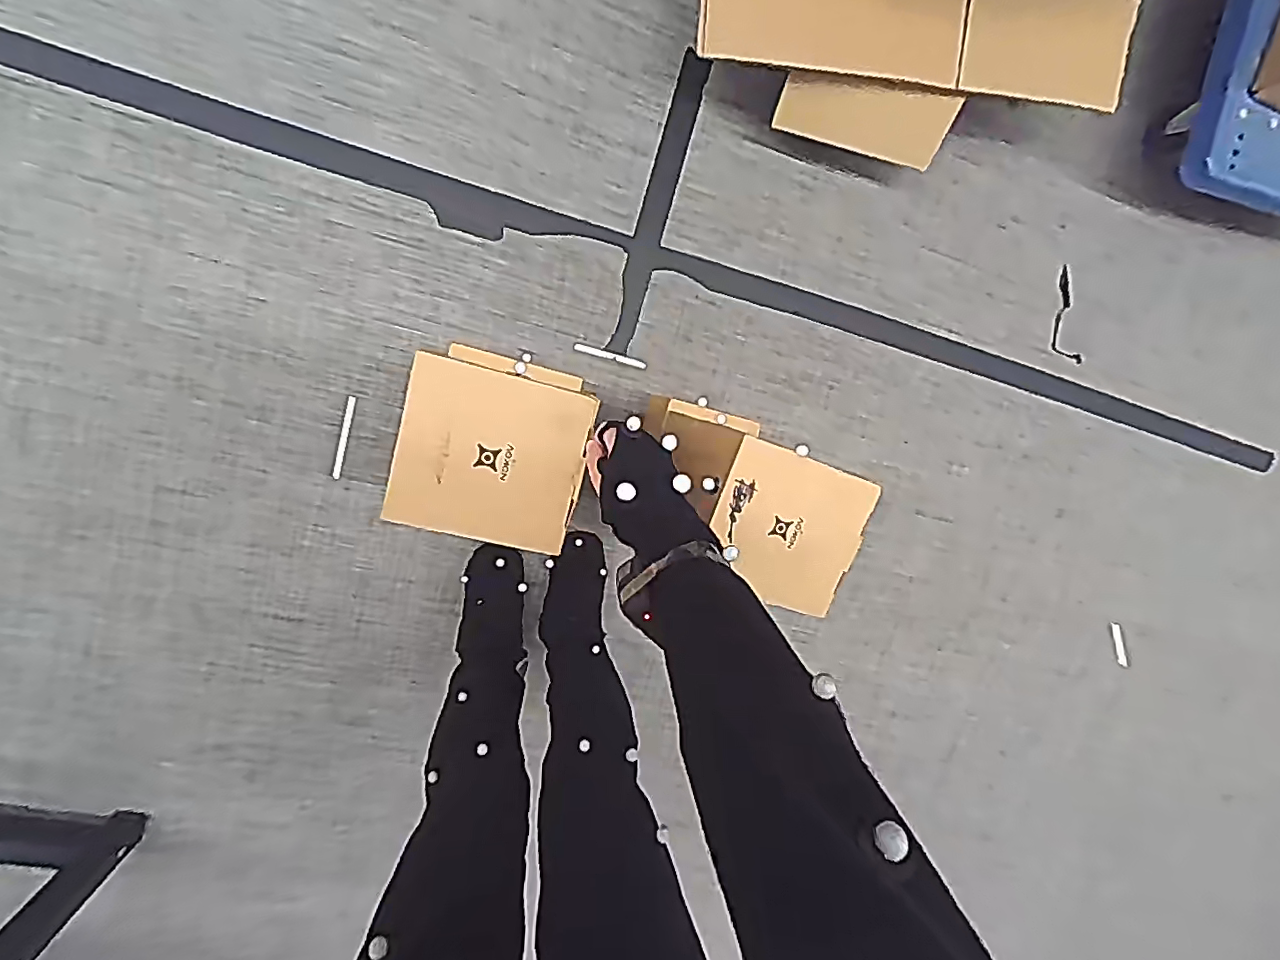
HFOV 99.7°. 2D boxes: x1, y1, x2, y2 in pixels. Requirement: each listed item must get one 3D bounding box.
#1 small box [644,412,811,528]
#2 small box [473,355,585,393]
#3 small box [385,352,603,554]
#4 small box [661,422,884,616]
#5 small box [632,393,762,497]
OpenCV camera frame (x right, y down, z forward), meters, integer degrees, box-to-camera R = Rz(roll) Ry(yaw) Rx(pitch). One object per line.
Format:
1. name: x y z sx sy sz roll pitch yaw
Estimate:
1. small box: 0.119 0.000 0.816 0.179 0.176 0.168 16 99 -14
2. small box: -0.203 -0.102 0.910 0.179 0.176 0.168 15 98 -13
3. small box: -0.151 -0.036 0.593 0.179 0.176 0.168 13 97 -12
4. small box: 0.146 0.037 0.658 0.179 0.176 0.168 19 98 -15
5. small box: 0.091 -0.050 0.971 0.168 0.176 0.179 14 98 -13
